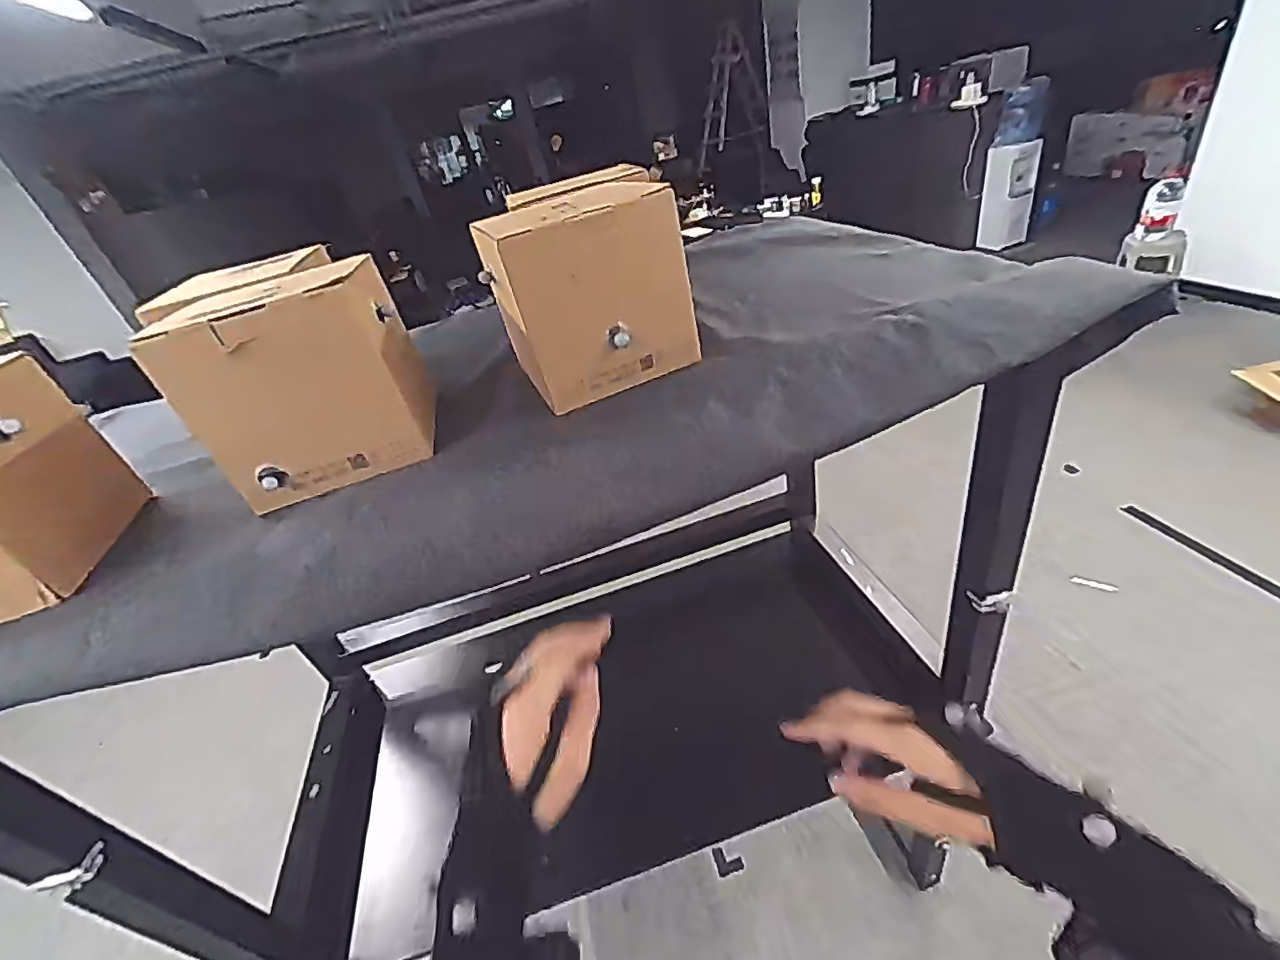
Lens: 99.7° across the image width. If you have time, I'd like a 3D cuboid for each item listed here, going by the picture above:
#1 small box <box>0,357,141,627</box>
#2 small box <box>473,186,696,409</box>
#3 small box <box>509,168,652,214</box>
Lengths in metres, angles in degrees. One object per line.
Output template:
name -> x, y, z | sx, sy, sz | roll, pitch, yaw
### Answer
small box -> -0.585, 0.021, 0.453 | 0.168, 0.176, 0.179 | -20, 35, -9
small box -> -0.058, -0.195, 0.570 | 0.168, 0.176, 0.179 | -23, 35, -12
small box -> -0.072, -0.317, 0.752 | 0.179, 0.176, 0.168 | -17, 33, -4
